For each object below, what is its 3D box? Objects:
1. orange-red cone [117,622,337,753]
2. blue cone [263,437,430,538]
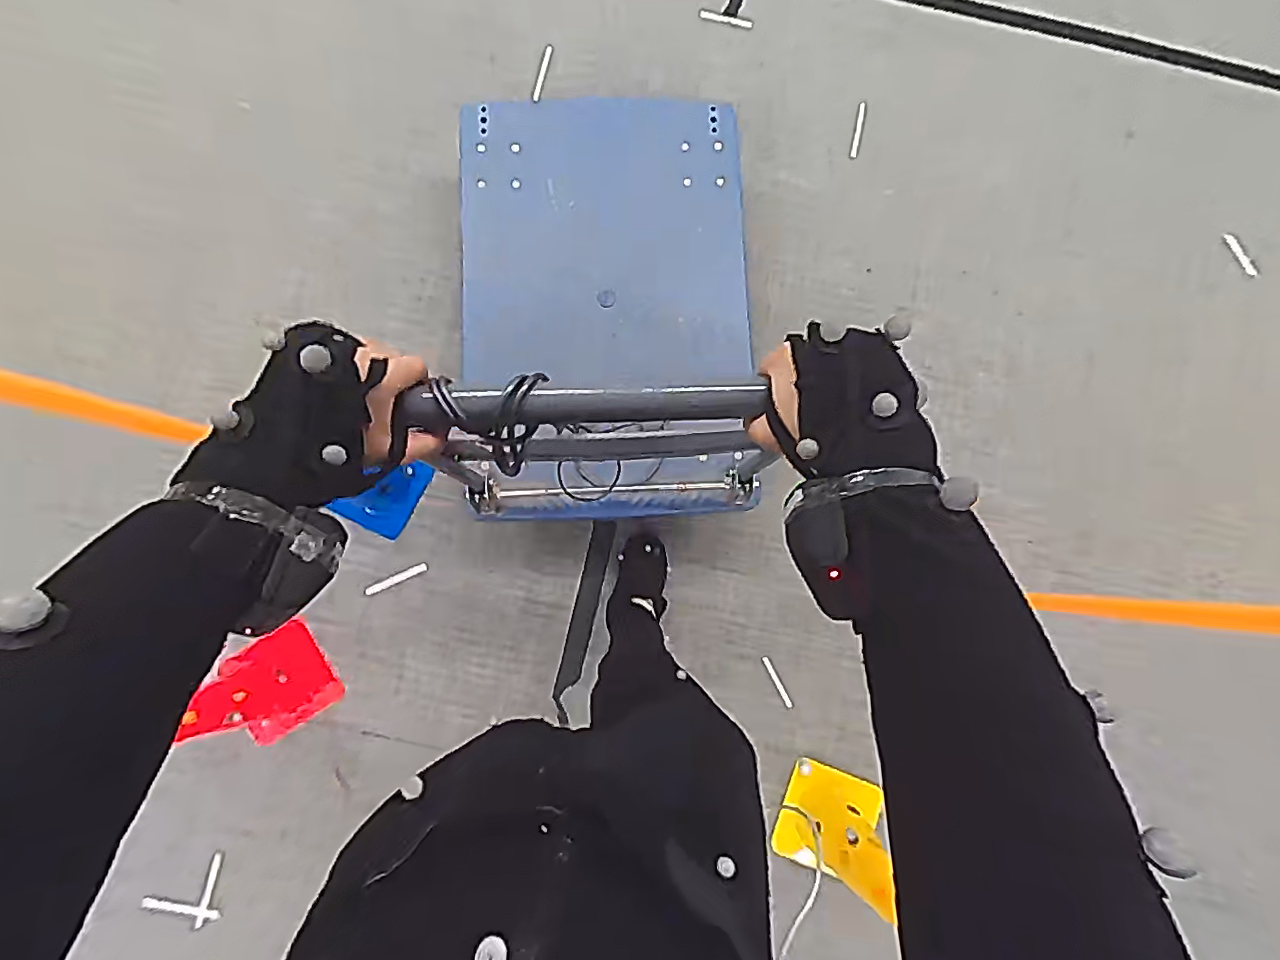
[{"bbox_3d":[-0.743,0.396,0.951,0.199,0.360,0.198,-31,85,-7],"label":"orange-red cone"},{"bbox_3d":[-0.570,-0.006,1.026,0.193,0.380,0.192,28,83,1],"label":"blue cone"}]
